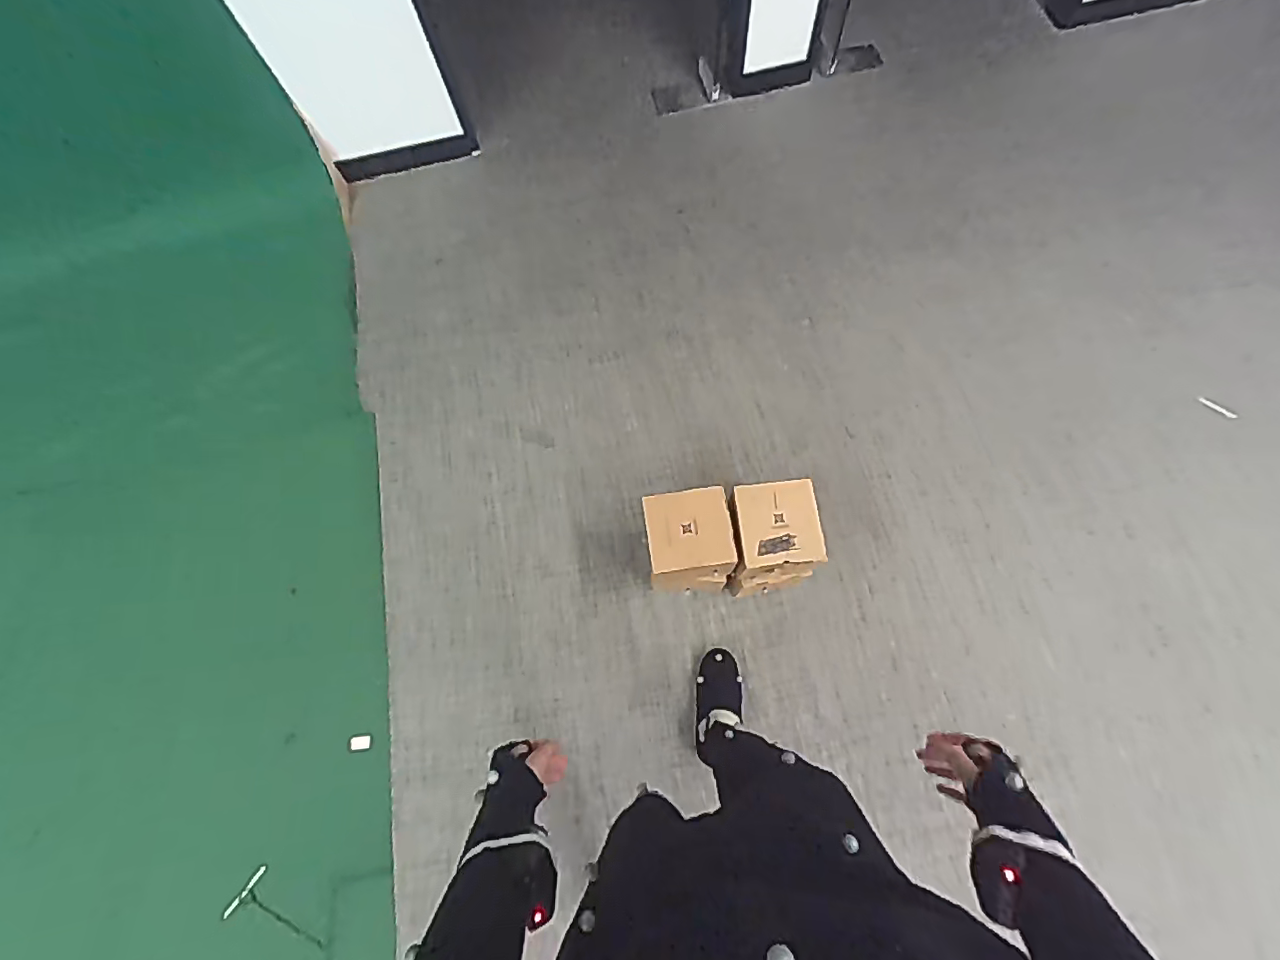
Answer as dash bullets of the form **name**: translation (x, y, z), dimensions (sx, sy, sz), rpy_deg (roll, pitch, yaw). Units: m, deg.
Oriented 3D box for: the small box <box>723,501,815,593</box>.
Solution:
- **small box**: translation (0.307, 0.170, 1.327), dimensions (0.168, 0.176, 0.179), rpy_deg (-12, 72, 0)
